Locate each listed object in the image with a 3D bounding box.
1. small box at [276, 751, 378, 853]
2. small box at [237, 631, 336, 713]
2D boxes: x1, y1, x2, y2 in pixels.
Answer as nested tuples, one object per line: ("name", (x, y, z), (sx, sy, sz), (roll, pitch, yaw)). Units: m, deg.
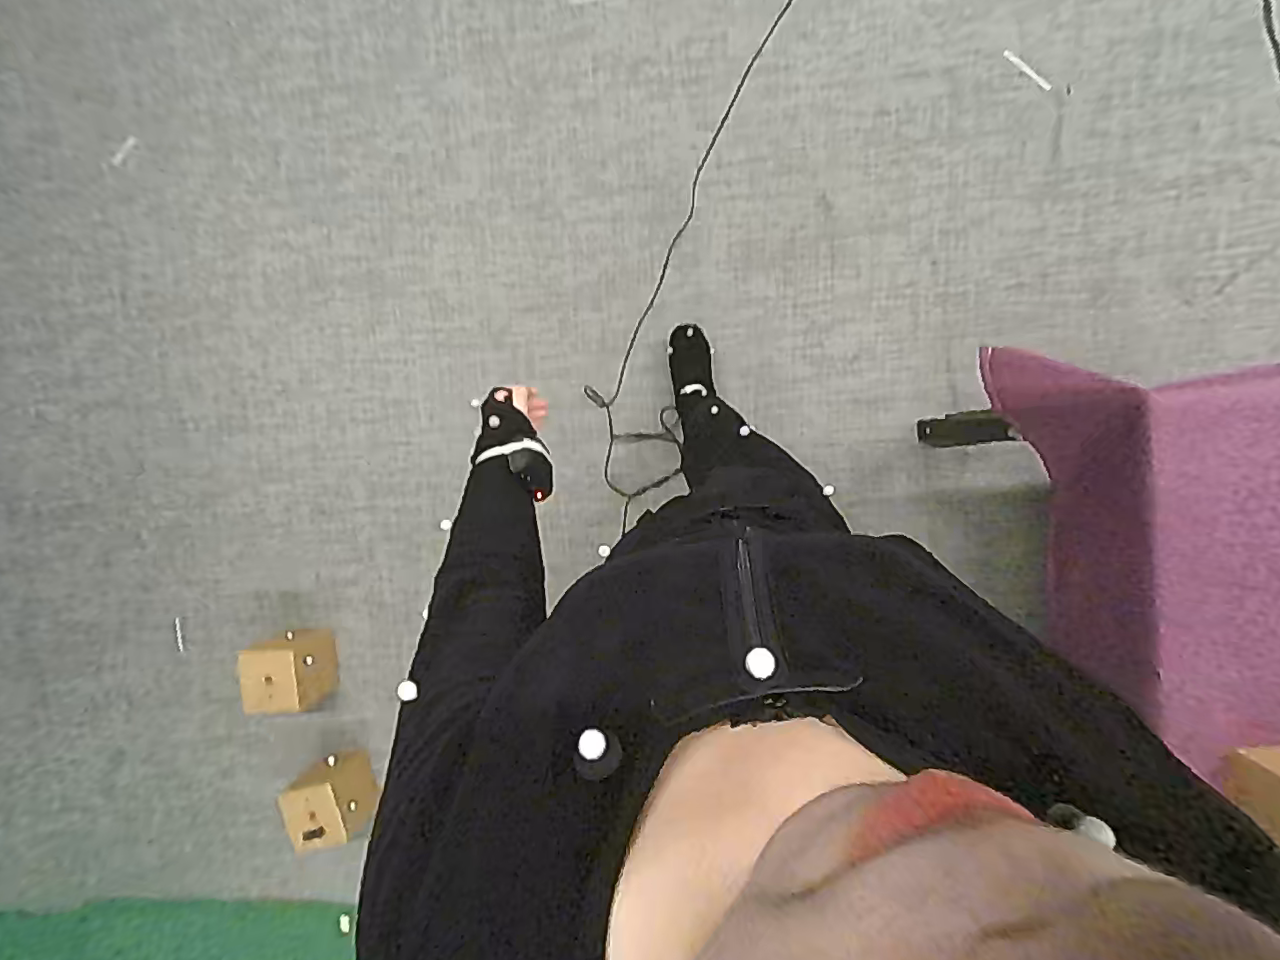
("small box", (-0.890, 0.919, 1.553), (0.168, 0.176, 0.179), (-15, 93, 6))
("small box", (-0.993, 0.535, 1.530), (0.168, 0.176, 0.179), (-3, 95, 6))
